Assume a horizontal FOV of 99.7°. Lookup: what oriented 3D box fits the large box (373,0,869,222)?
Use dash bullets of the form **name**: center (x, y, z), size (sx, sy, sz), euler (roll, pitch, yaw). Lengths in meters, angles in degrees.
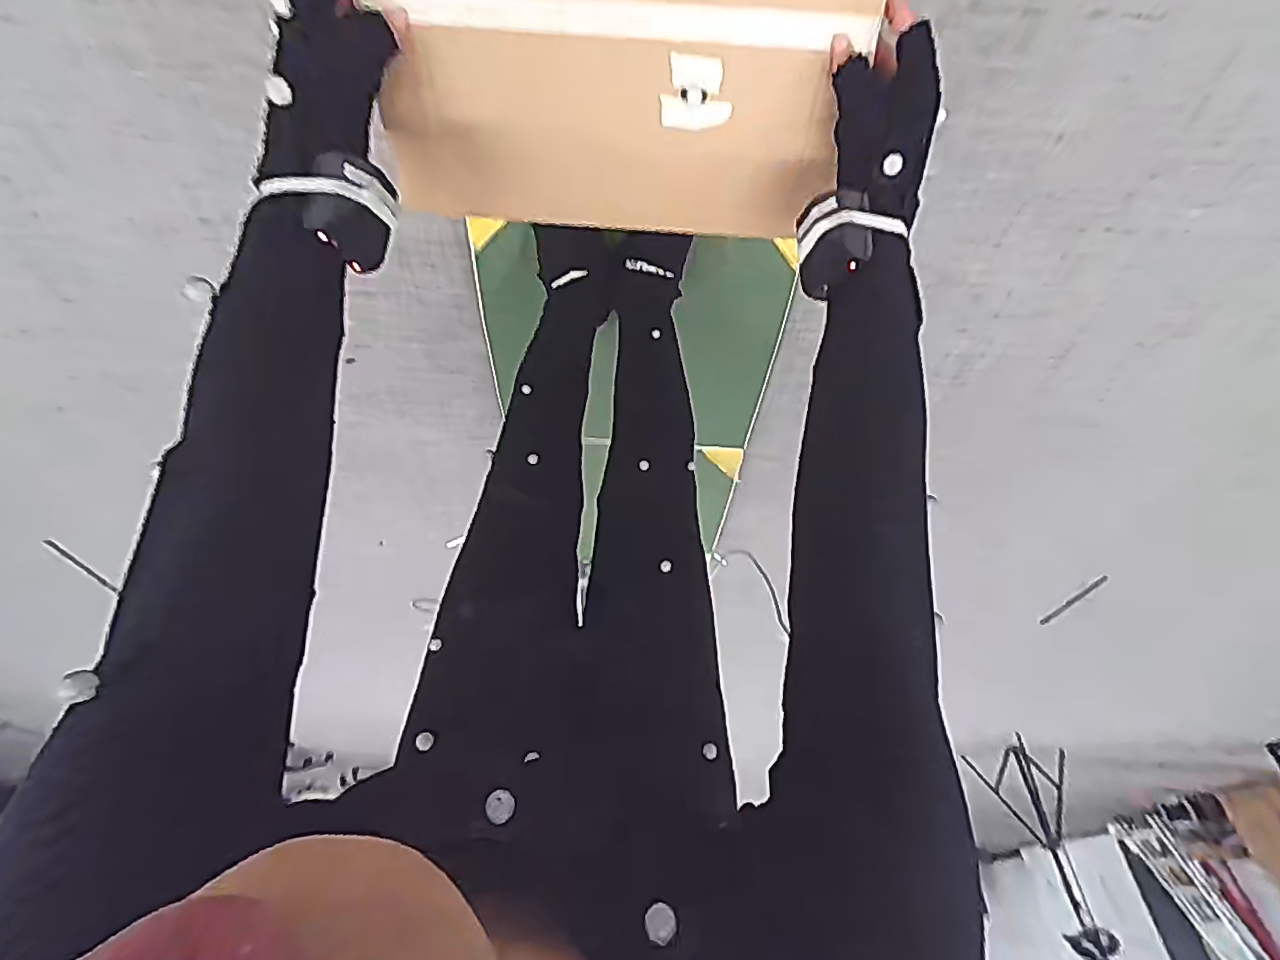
- **large box**: center (-0.015, -0.477, 0.542), size (0.408, 0.320, 0.320), euler (3, 134, -1)
